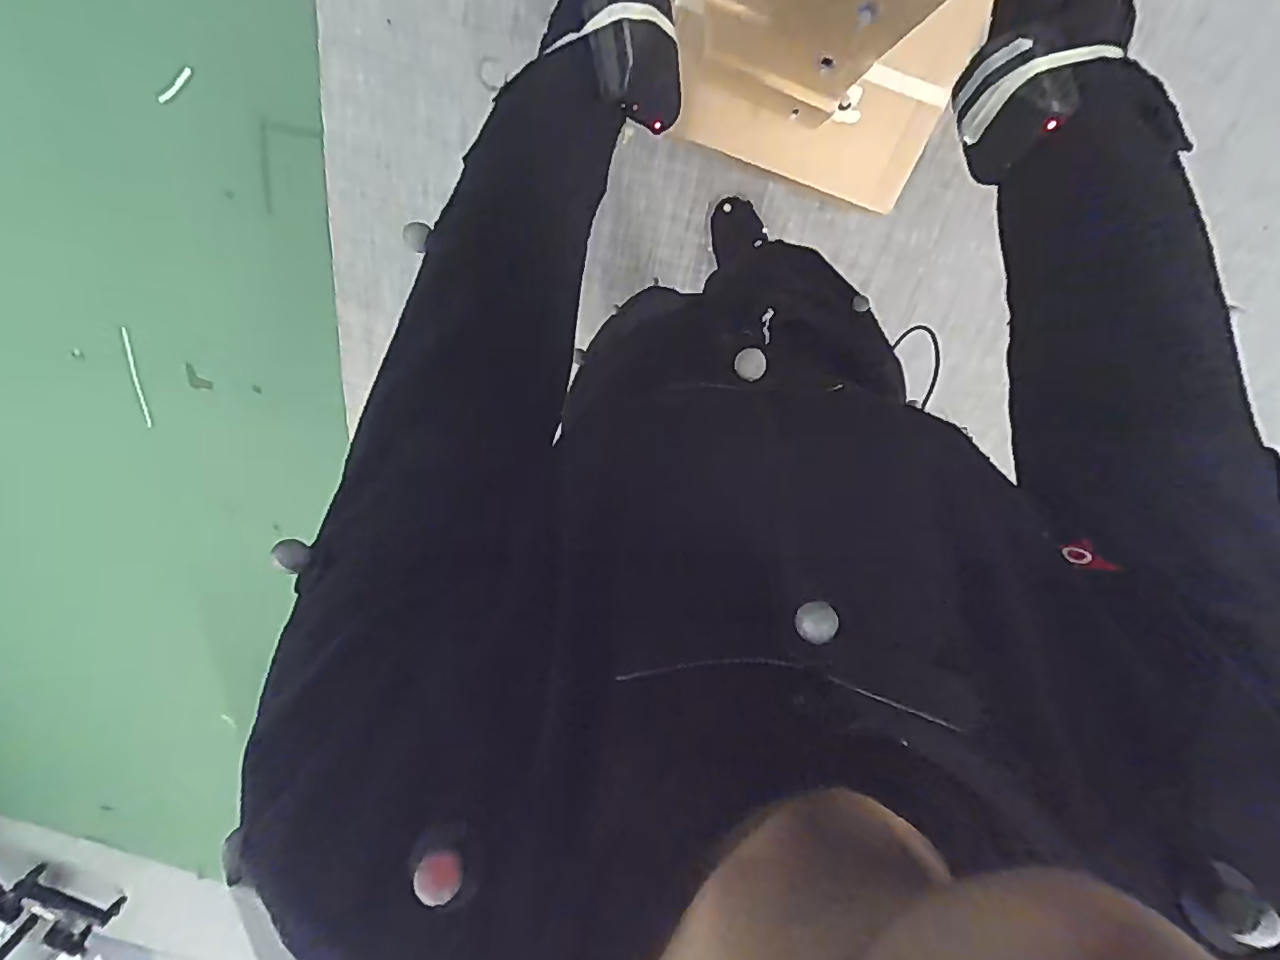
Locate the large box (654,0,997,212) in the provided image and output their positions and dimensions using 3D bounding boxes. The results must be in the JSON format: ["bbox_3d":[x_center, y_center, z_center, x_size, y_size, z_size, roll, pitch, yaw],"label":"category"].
[{"bbox_3d":[0.268,-0.674,0.893,0.408,0.320,0.320,19,120,-2],"label":"large box"}]

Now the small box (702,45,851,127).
[{"bbox_3d":[0.192,-0.570,0.683,0.179,0.176,0.168,21,117,-1],"label":"small box"}]

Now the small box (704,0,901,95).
[{"bbox_3d":[0.169,-0.512,0.532,0.179,0.176,0.168,20,117,-3],"label":"small box"}]
